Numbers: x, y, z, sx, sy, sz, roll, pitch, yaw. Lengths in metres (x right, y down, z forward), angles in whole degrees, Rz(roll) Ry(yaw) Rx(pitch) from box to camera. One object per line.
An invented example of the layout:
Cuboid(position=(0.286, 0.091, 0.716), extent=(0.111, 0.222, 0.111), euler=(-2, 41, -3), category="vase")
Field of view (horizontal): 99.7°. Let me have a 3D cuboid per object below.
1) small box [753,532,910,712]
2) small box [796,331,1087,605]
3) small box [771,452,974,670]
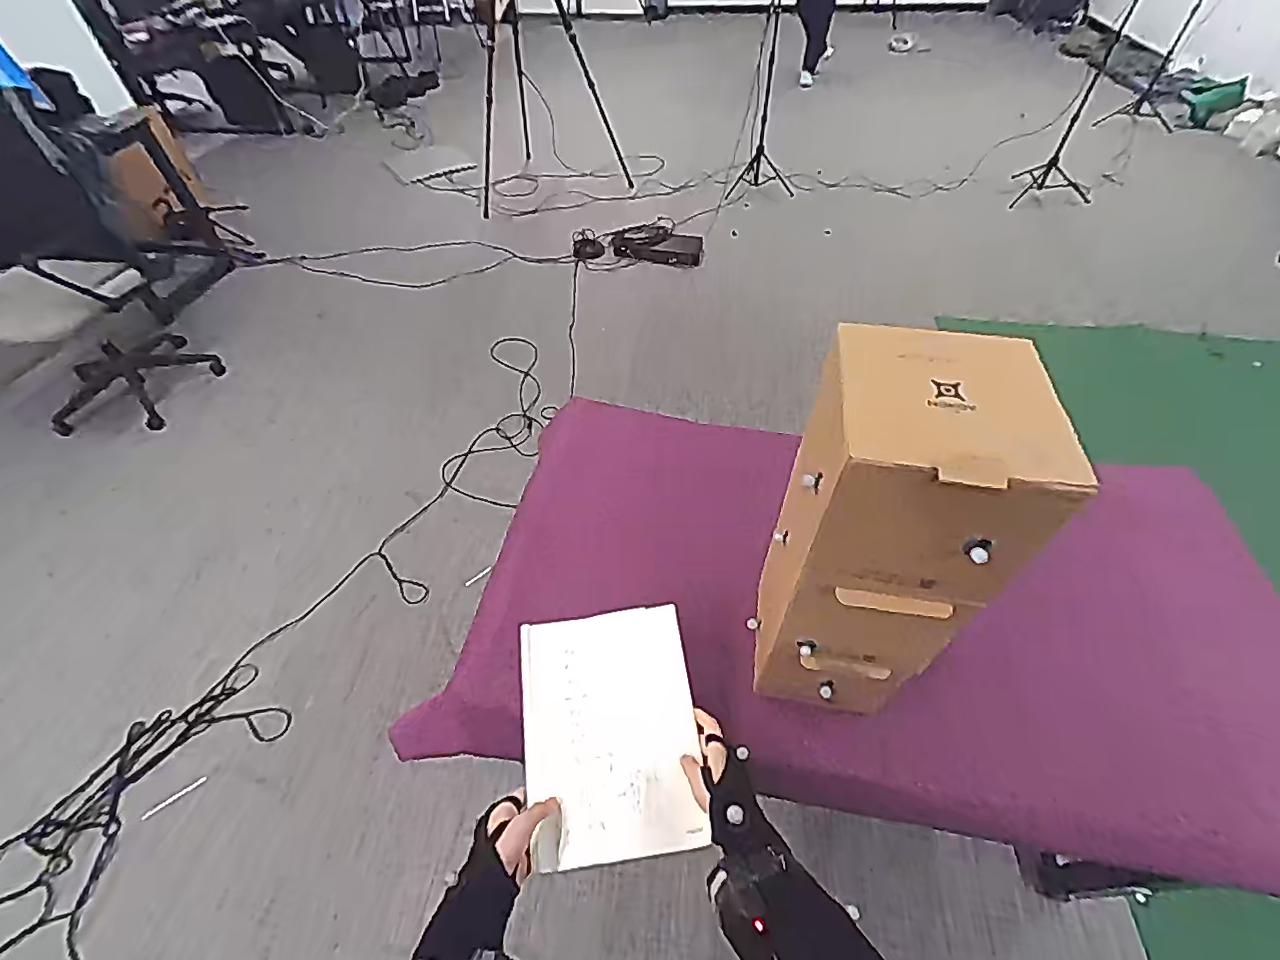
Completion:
Cuboid(position=(0.251, 0.198, 0.744), extent=(0.168, 0.176, 0.179), euler=(8, 50, 7), category="small box")
Cuboid(position=(0.242, -0.009, 0.490), extent=(0.168, 0.176, 0.179), euler=(8, 49, 8), category="small box")
Cuboid(position=(0.246, 0.095, 0.616), extent=(0.168, 0.176, 0.179), euler=(7, 49, 8), category="small box")
